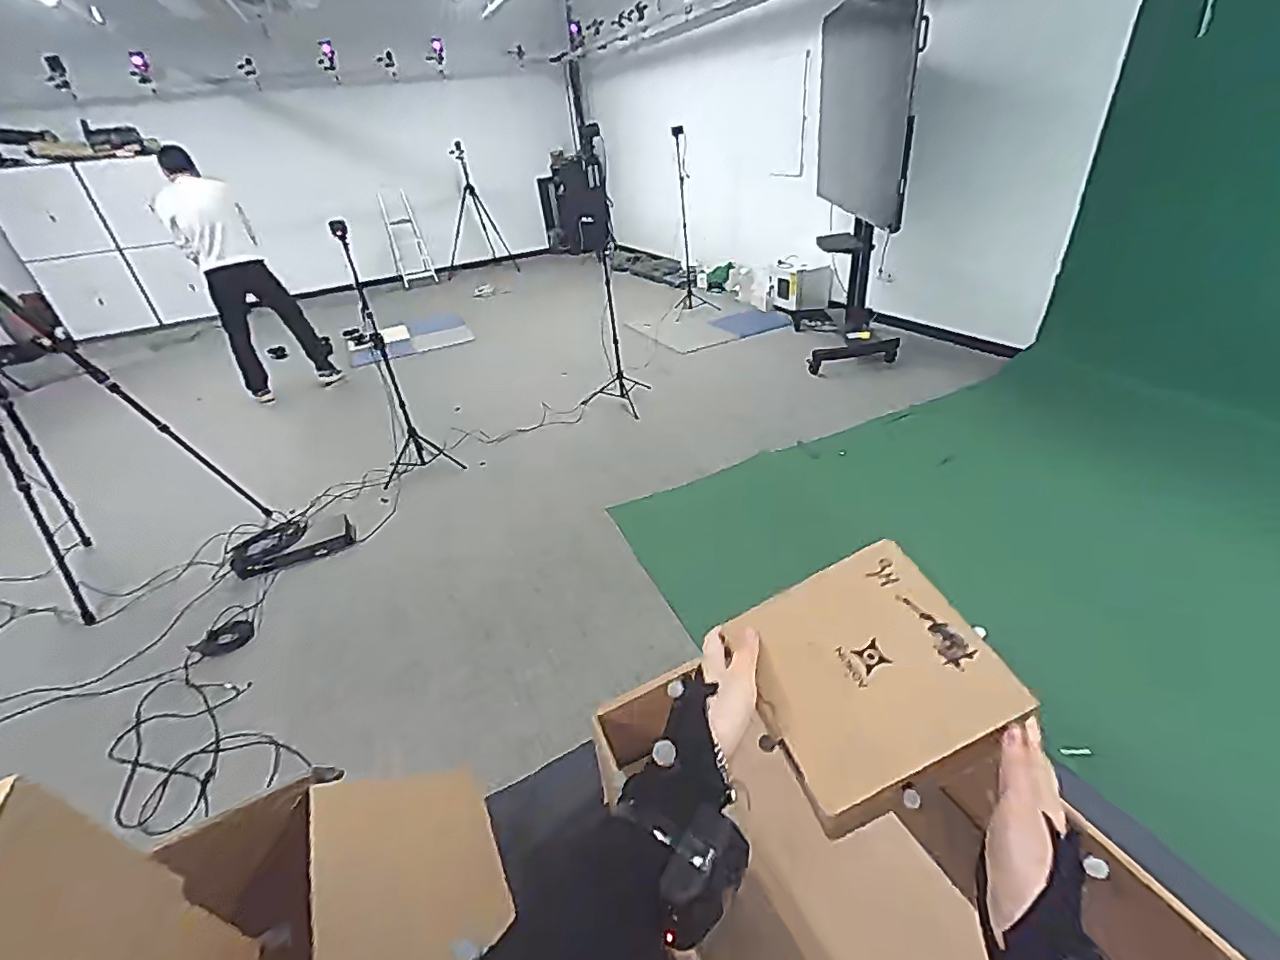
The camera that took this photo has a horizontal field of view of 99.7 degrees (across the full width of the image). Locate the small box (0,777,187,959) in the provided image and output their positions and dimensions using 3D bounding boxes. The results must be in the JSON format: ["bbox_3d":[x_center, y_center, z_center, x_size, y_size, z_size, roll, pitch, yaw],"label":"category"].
[{"bbox_3d":[-0.385,0.309,0.282,0.168,0.176,0.179,-21,38,-18],"label":"small box"}]
